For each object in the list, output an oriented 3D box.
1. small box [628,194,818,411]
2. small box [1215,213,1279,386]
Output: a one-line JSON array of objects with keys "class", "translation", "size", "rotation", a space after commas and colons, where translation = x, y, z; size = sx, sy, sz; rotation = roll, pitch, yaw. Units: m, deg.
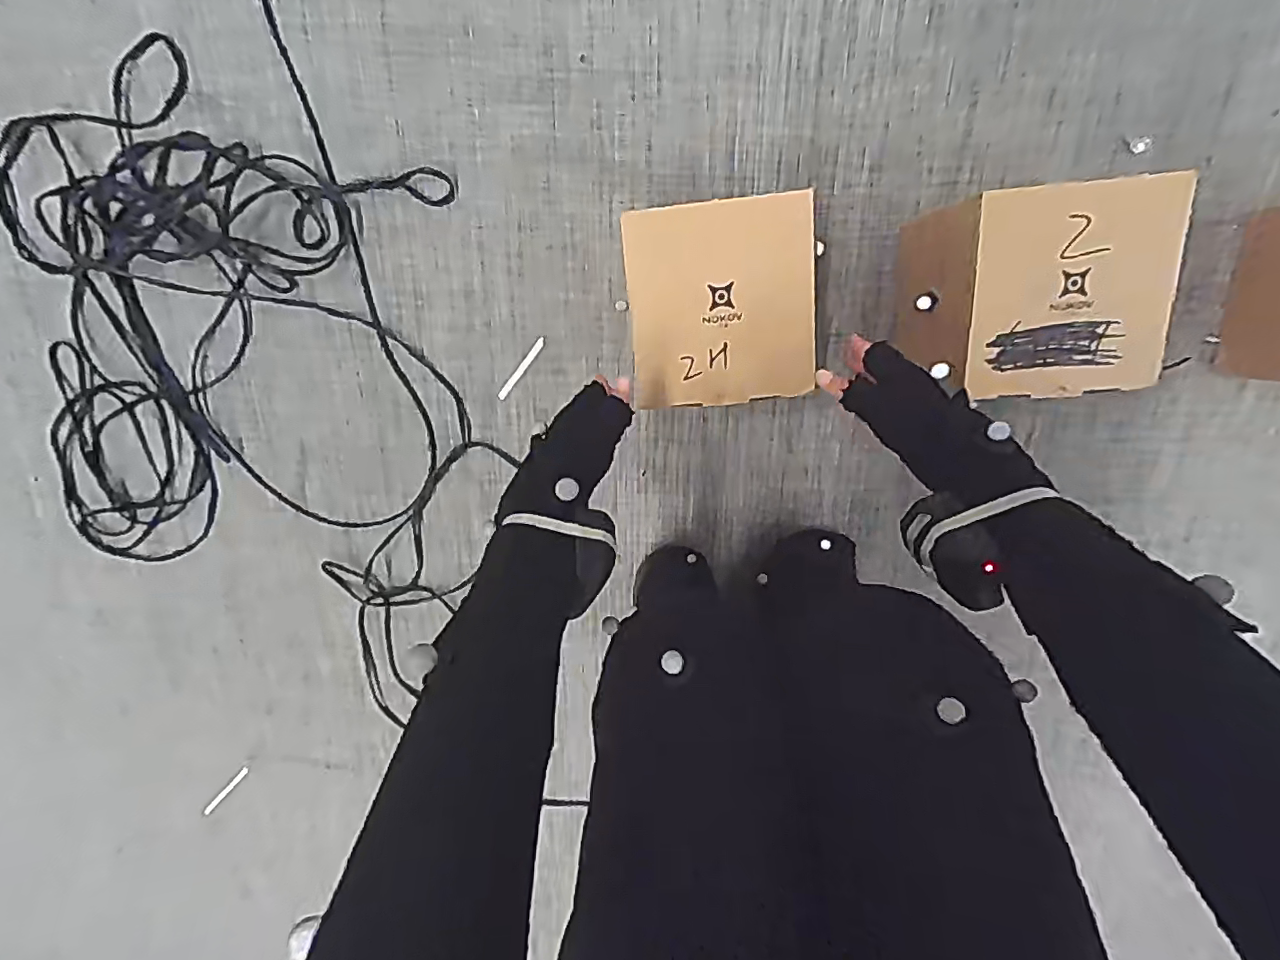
[{"class": "small box", "translation": [0.080, -0.175, 0.559], "size": [0.168, 0.176, 0.179], "rotation": [-4, 107, 6]}, {"class": "small box", "translation": [0.727, -0.177, 0.518], "size": [0.168, 0.176, 0.179], "rotation": [-1, 108, 6]}]
